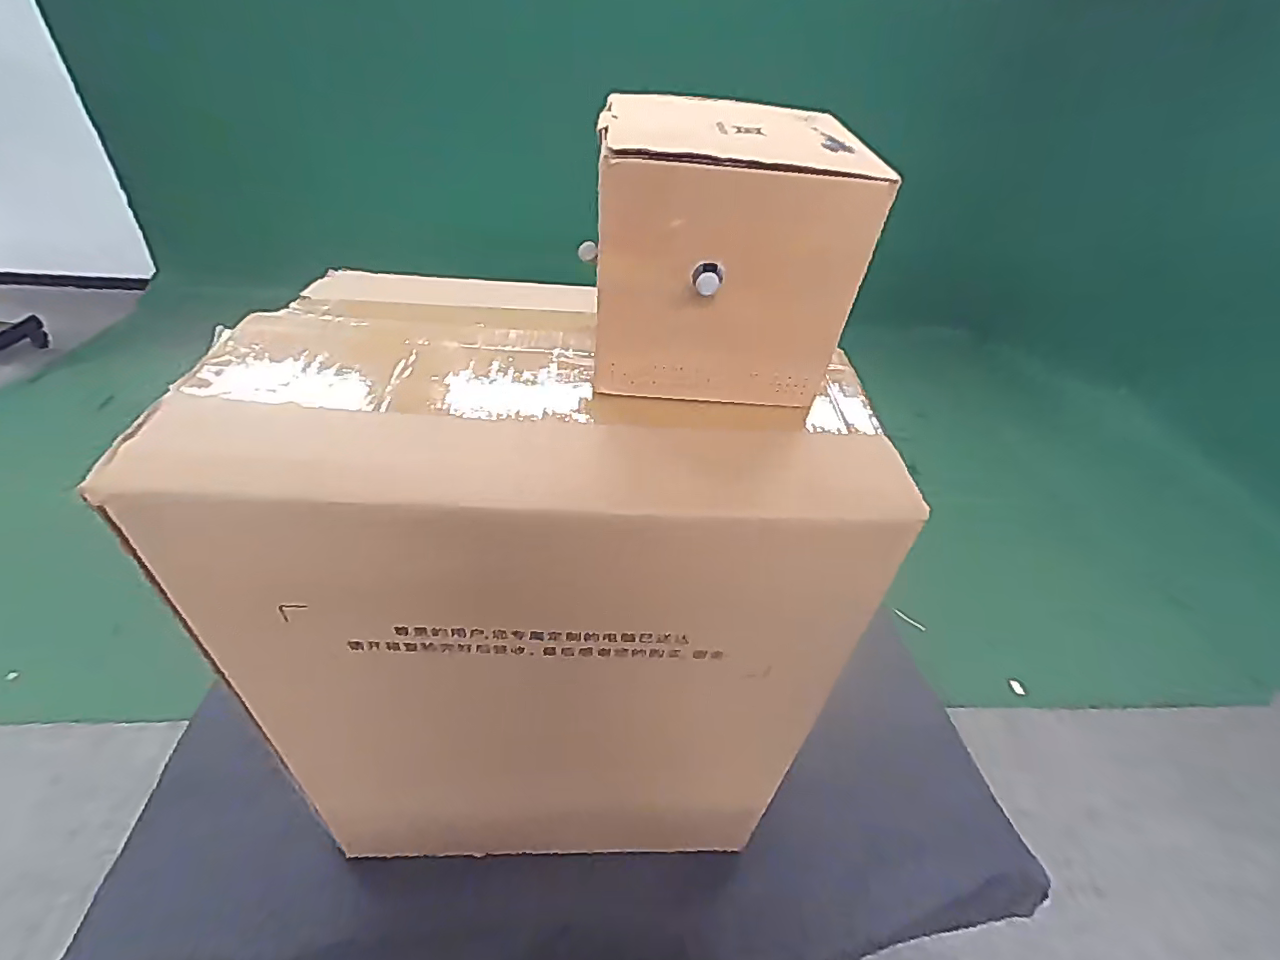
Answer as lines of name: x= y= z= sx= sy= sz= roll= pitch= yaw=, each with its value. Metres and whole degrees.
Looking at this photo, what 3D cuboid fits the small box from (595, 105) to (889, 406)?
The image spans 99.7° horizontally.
small box: x=0.056 y=-0.173 z=0.423 sx=0.179 sy=0.176 sz=0.168 roll=3 pitch=45 yaw=-3
